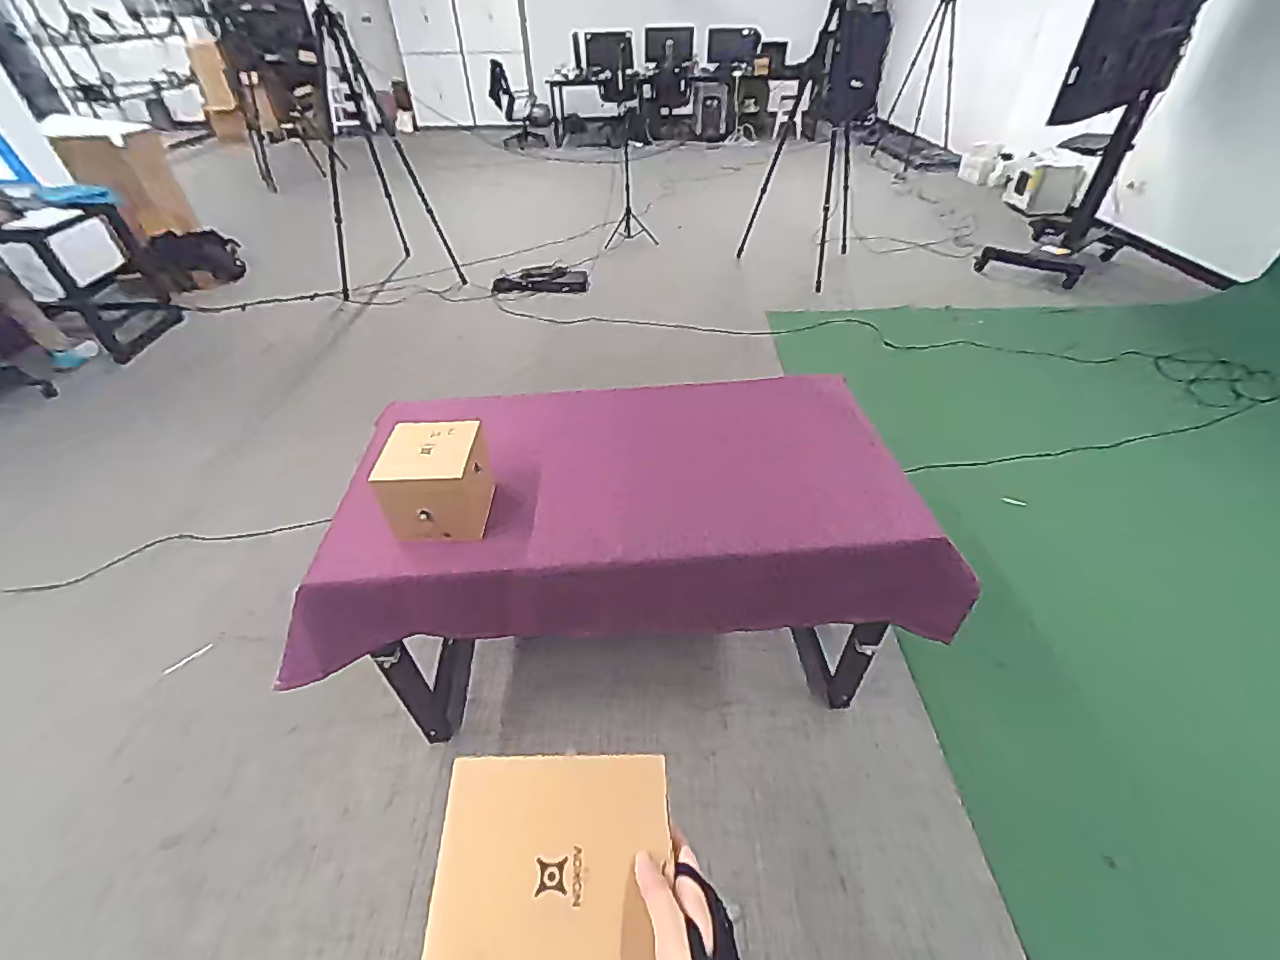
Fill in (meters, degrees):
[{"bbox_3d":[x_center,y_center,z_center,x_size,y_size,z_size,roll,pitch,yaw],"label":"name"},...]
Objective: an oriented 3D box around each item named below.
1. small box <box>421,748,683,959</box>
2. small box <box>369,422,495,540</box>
[{"bbox_3d":[-0.069,0.338,0.450,0.179,0.176,0.168,3,46,-8],"label":"small box"},{"bbox_3d":[-0.392,0.005,1.056,0.168,0.176,0.179,-1,41,0],"label":"small box"}]
